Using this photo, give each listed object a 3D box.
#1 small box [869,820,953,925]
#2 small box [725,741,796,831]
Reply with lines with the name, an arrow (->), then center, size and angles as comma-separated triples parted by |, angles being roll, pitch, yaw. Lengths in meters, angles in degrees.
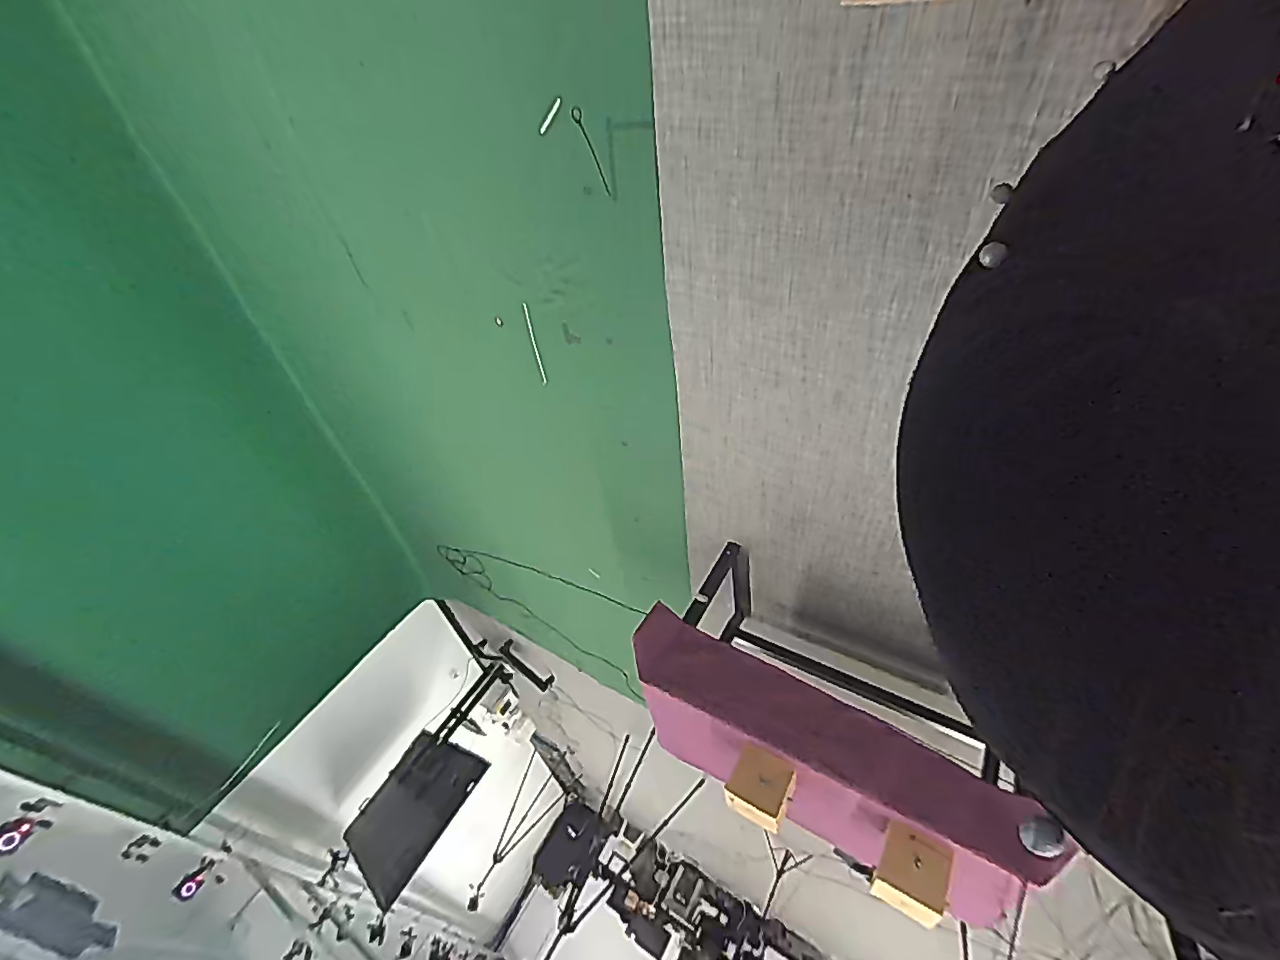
small box -> 0.767, 1.102, 1.528 | 0.168, 0.176, 0.179 | 18, 140, 29
small box -> 0.392, 0.978, 1.738 | 0.179, 0.176, 0.168 | 16, 139, 29
